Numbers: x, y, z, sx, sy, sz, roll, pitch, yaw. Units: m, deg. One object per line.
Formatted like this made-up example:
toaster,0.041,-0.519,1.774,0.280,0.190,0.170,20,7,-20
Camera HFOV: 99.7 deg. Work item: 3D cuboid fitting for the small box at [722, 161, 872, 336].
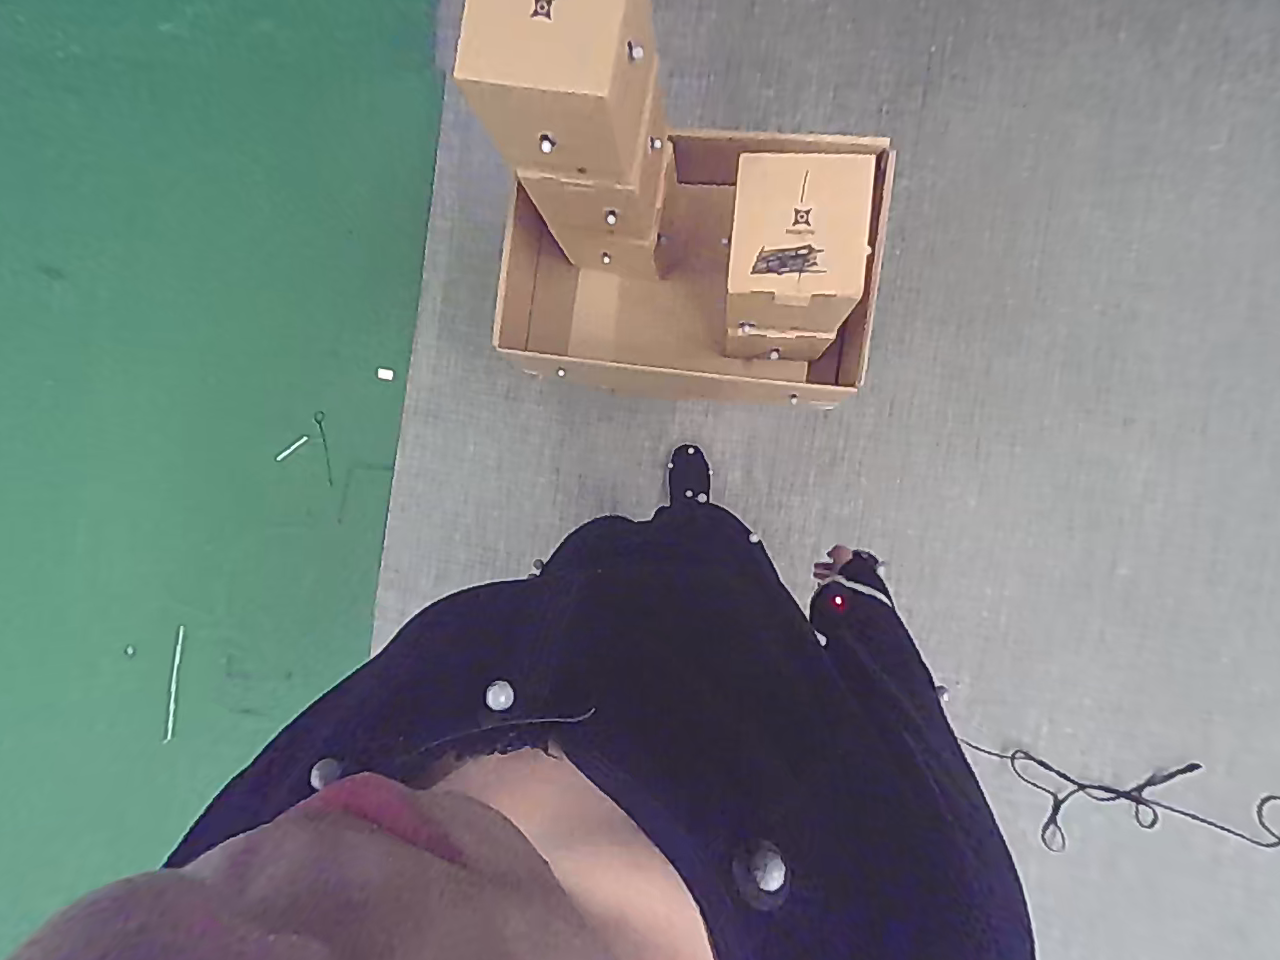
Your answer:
small box,0.206,-0.308,0.752,0.168,0.176,0.179,6,91,7

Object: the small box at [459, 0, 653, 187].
small box,-0.083,-0.473,0.625,0.168,0.176,0.179,12,92,5

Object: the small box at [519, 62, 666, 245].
small box,-0.059,-0.468,0.788,0.168,0.176,0.179,11,91,6
